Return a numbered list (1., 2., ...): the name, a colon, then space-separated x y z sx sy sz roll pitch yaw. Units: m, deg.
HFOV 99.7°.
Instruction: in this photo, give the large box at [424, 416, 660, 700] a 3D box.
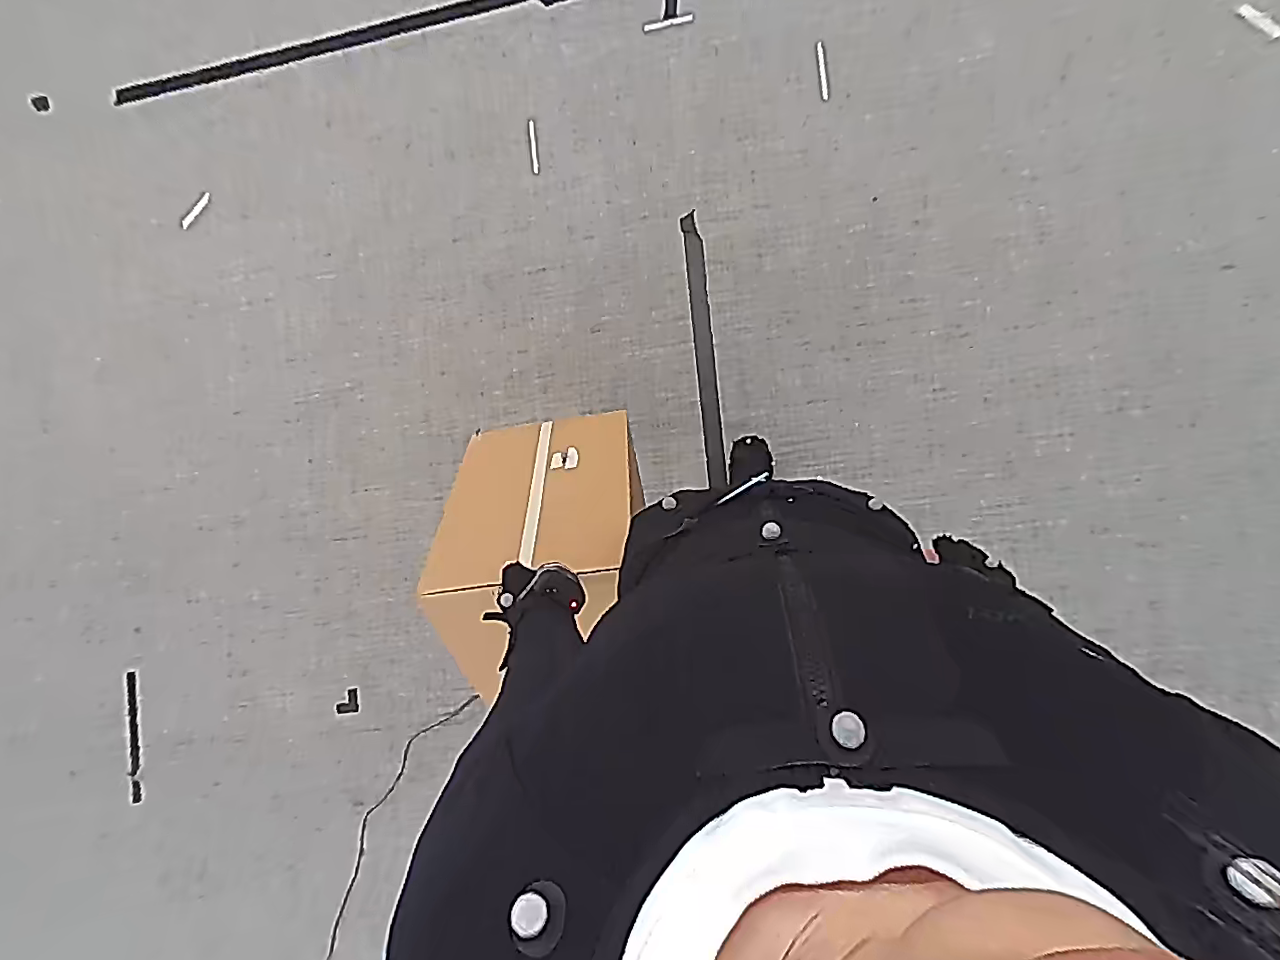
1. large box: -0.148 0.135 1.013 0.320 0.408 0.320 -8 128 4
